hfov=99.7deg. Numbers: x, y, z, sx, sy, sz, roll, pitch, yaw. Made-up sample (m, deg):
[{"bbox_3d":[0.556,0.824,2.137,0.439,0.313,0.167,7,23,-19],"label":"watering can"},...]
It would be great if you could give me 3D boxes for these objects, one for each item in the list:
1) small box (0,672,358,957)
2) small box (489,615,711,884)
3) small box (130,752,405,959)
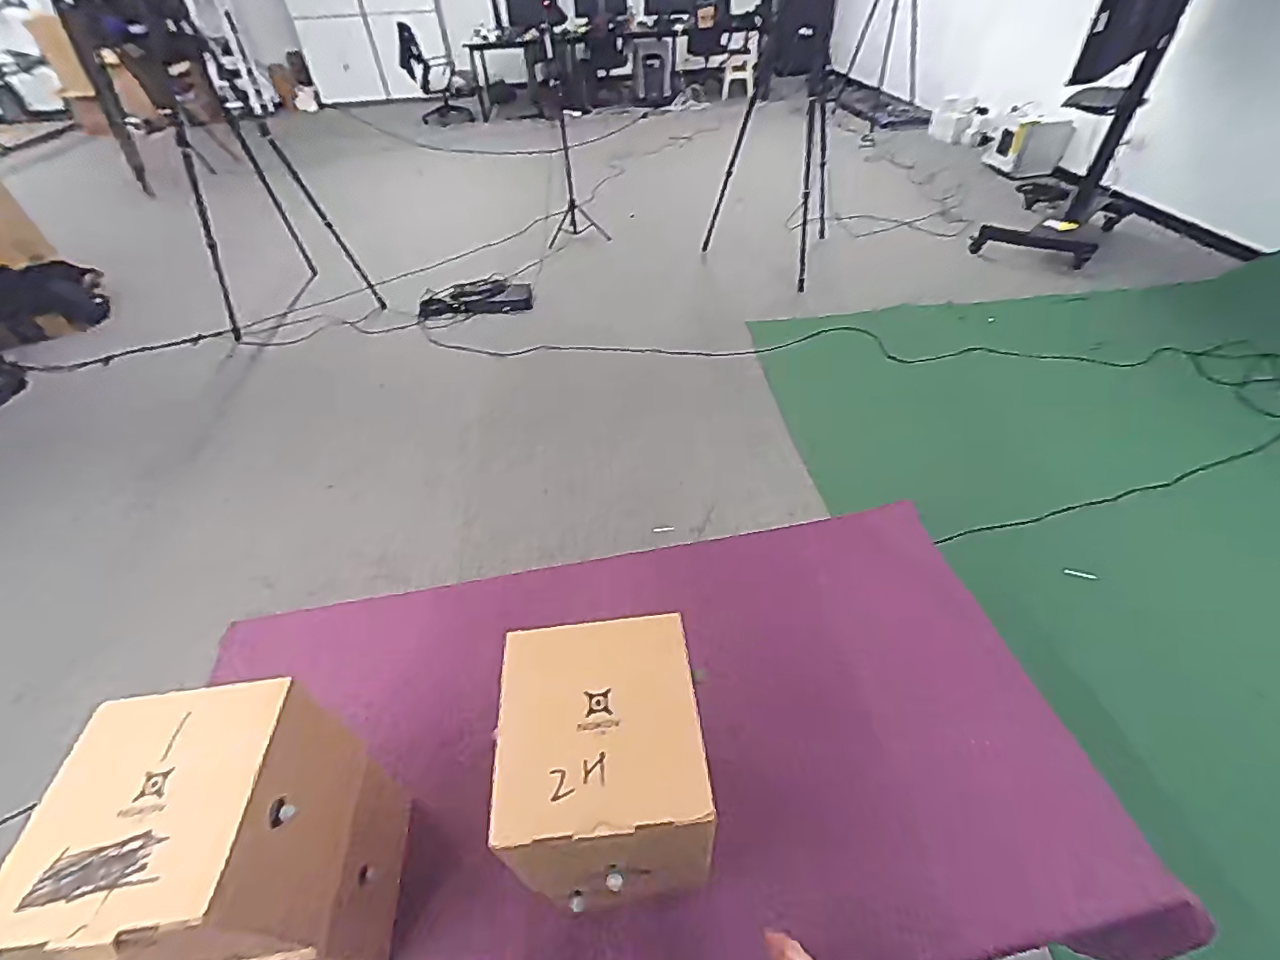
[{"bbox_3d":[-0.379,0.297,0.478,0.168,0.176,0.179,-6,44,-3],"label":"small box"},{"bbox_3d":[-0.033,0.251,0.508,0.168,0.176,0.179,-5,45,-2],"label":"small box"},{"bbox_3d":[-0.376,0.419,0.590,0.168,0.176,0.179,-6,46,-4],"label":"small box"}]
